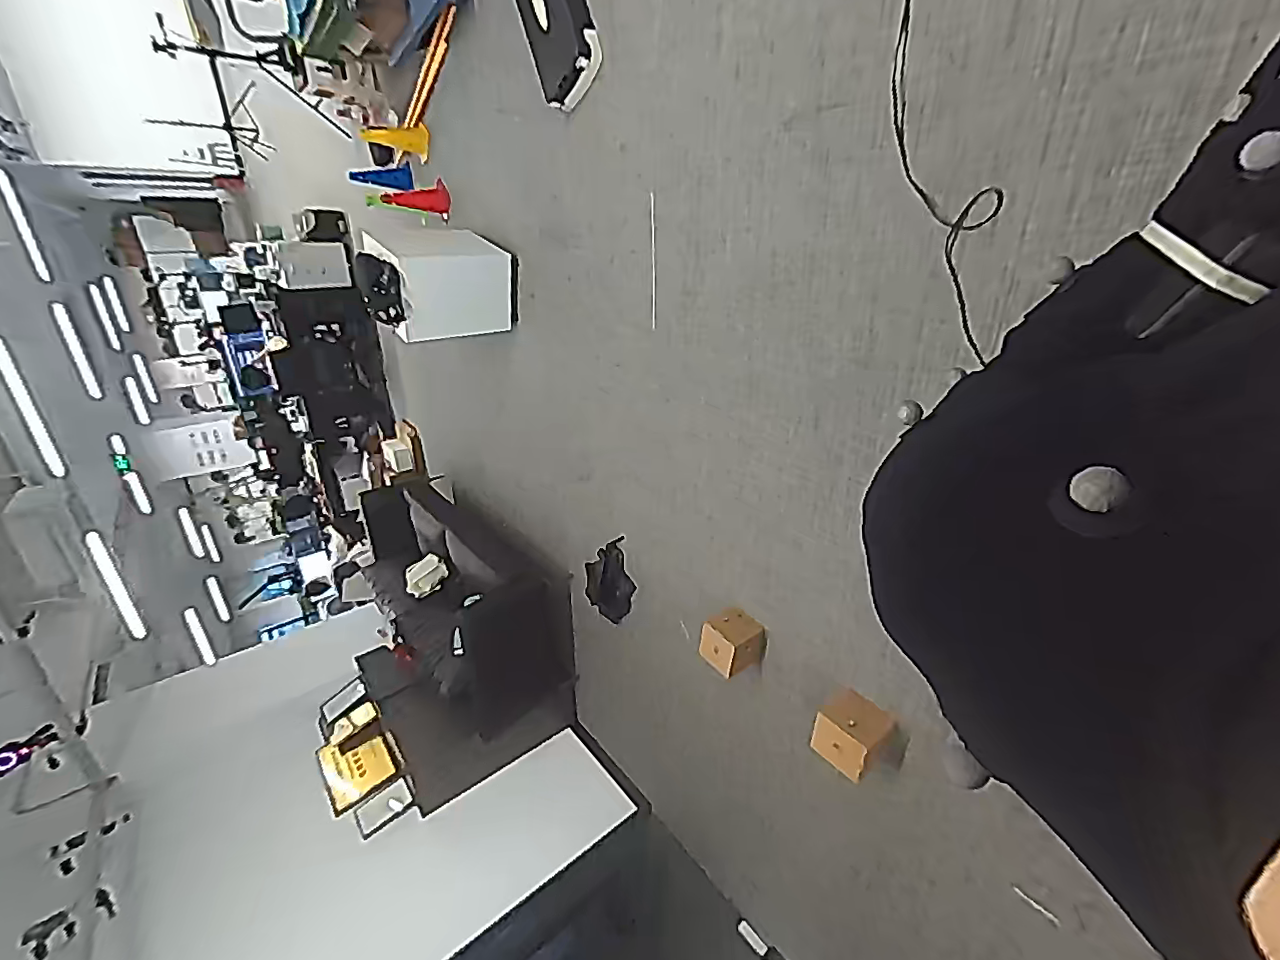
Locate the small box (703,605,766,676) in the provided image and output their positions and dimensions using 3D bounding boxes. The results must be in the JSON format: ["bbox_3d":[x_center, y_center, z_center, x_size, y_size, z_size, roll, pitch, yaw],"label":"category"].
[{"bbox_3d":[0.370,0.618,2.106,0.168,0.176,0.179,35,133,43],"label":"small box"}]

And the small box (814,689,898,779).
[{"bbox_3d":[0.695,0.807,1.742,0.179,0.176,0.168,29,128,44],"label":"small box"}]
